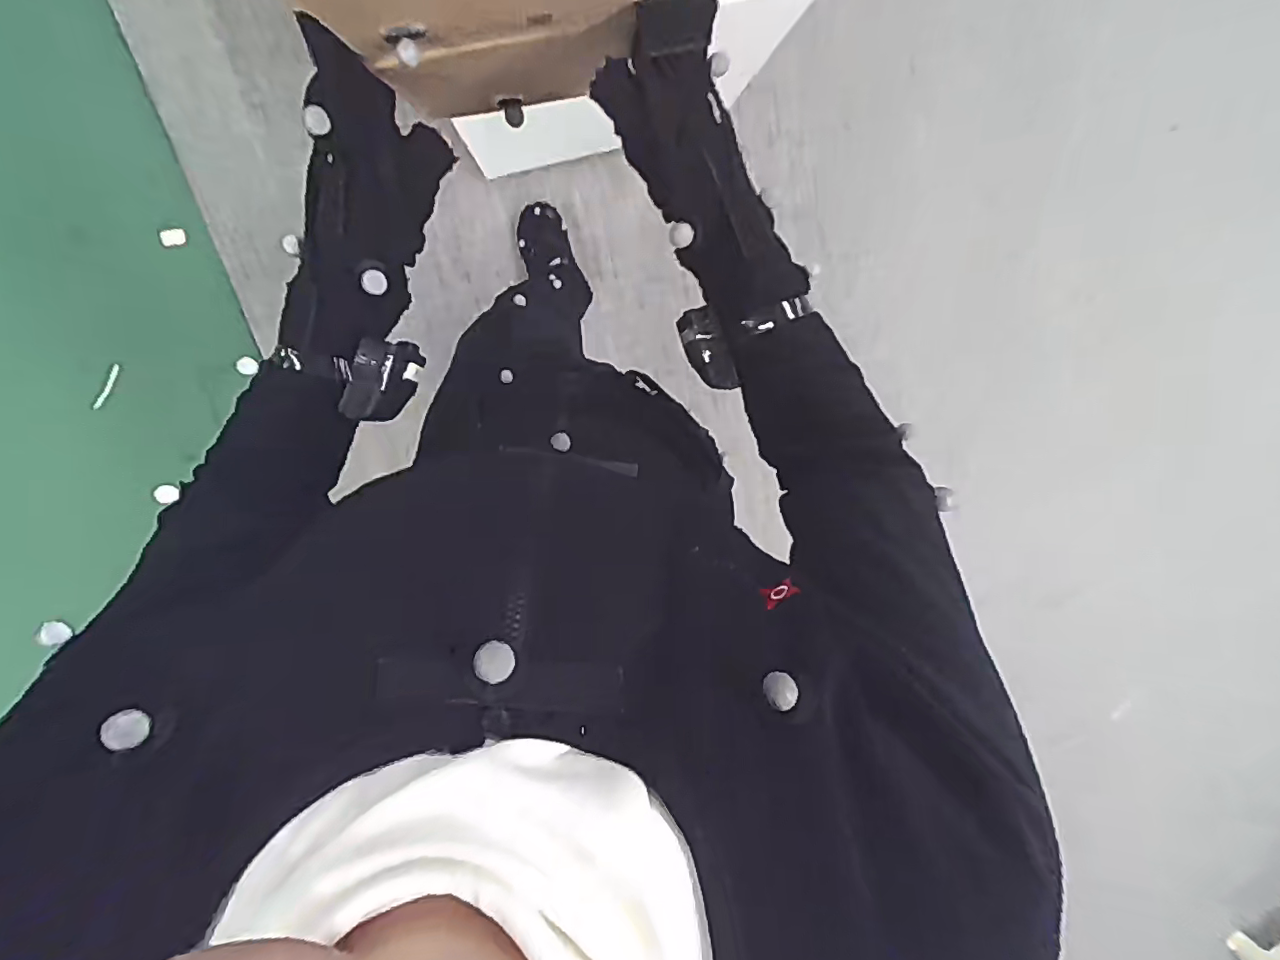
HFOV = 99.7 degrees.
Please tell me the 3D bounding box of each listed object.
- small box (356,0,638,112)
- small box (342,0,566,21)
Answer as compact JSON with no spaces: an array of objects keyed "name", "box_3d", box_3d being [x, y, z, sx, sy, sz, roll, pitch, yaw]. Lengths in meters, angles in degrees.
[{"name":"small box","box_3d":[-0.102,-0.376,0.357,0.168,0.176,0.179,-11,115,0]},{"name":"small box","box_3d":[-0.087,-0.313,0.205,0.168,0.176,0.179,-10,113,-1]}]
